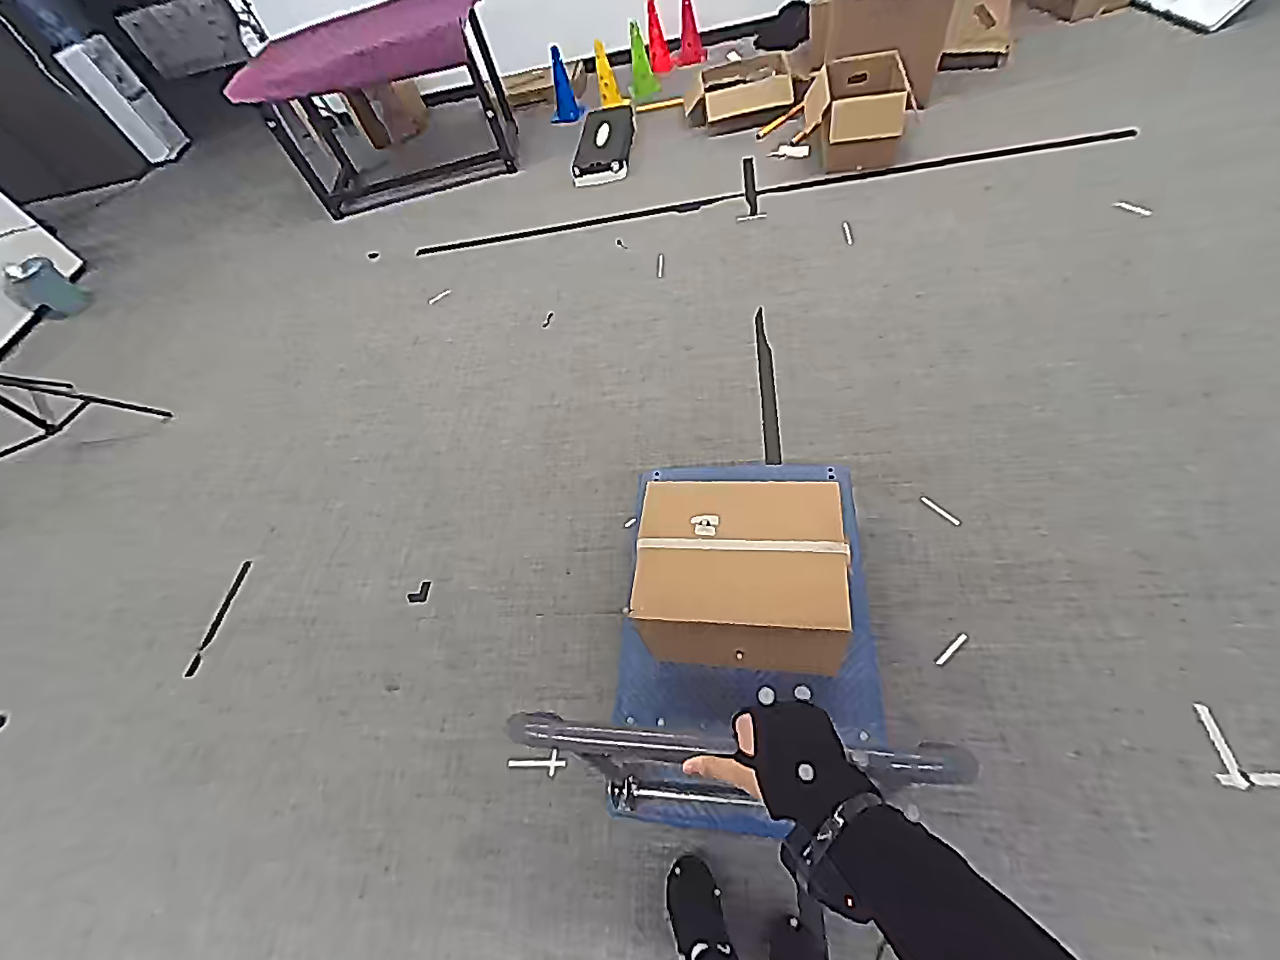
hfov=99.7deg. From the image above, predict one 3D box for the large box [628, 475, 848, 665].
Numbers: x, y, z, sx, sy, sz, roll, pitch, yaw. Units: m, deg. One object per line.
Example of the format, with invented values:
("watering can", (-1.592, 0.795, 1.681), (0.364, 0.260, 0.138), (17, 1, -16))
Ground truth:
("large box", (0.218, 0.205, 1.184), (0.408, 0.320, 0.320), (-1, 56, 14))
